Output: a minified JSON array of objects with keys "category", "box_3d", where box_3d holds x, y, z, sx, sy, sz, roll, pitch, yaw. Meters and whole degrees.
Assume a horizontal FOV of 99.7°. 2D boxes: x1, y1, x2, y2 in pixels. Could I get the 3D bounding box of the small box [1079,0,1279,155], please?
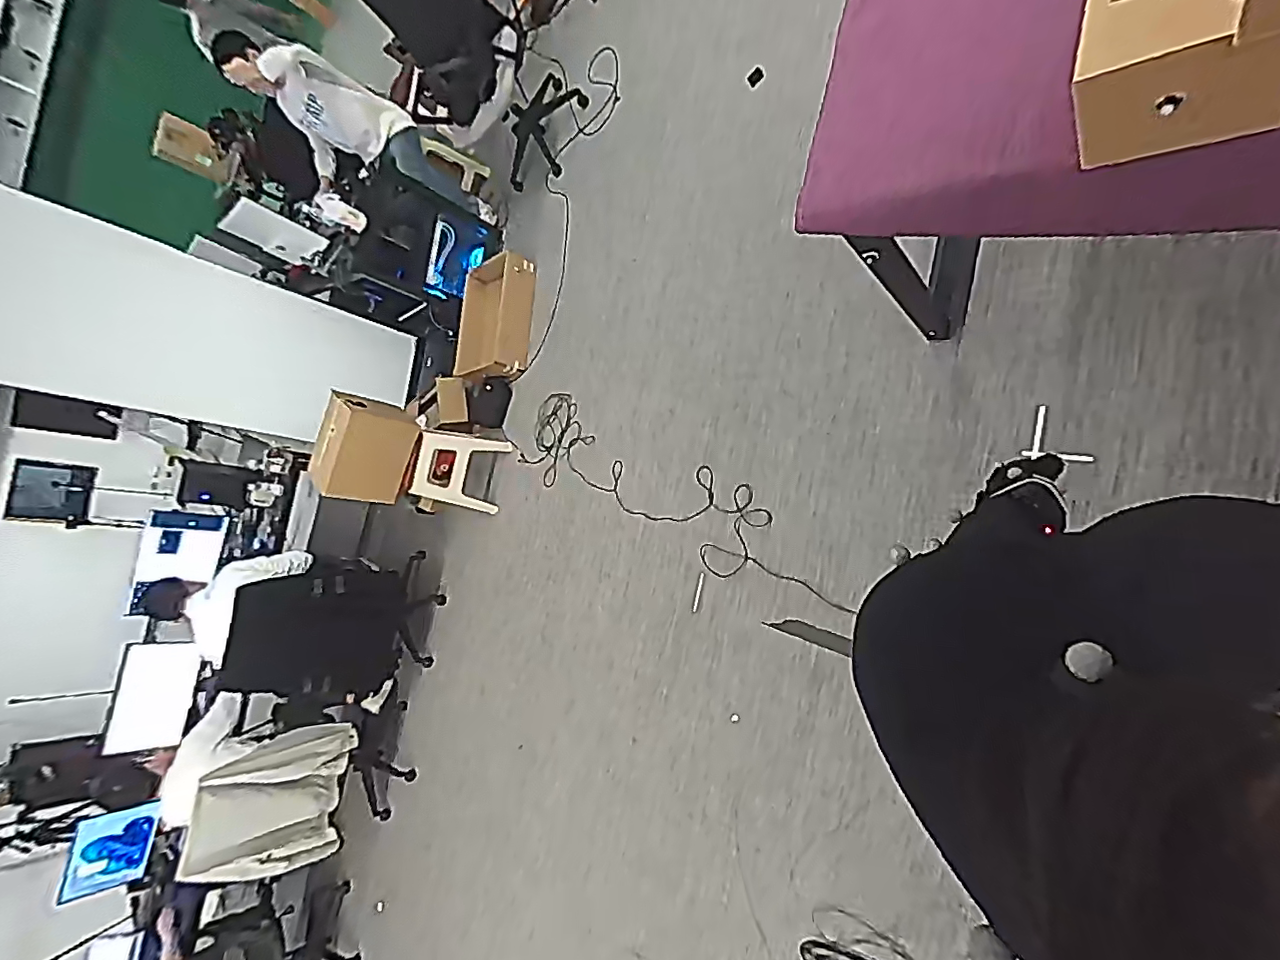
[{"category":"small box","box_3d":[0.602,-0.493,0.578,0.179,0.176,0.168,9,87,45]}]
